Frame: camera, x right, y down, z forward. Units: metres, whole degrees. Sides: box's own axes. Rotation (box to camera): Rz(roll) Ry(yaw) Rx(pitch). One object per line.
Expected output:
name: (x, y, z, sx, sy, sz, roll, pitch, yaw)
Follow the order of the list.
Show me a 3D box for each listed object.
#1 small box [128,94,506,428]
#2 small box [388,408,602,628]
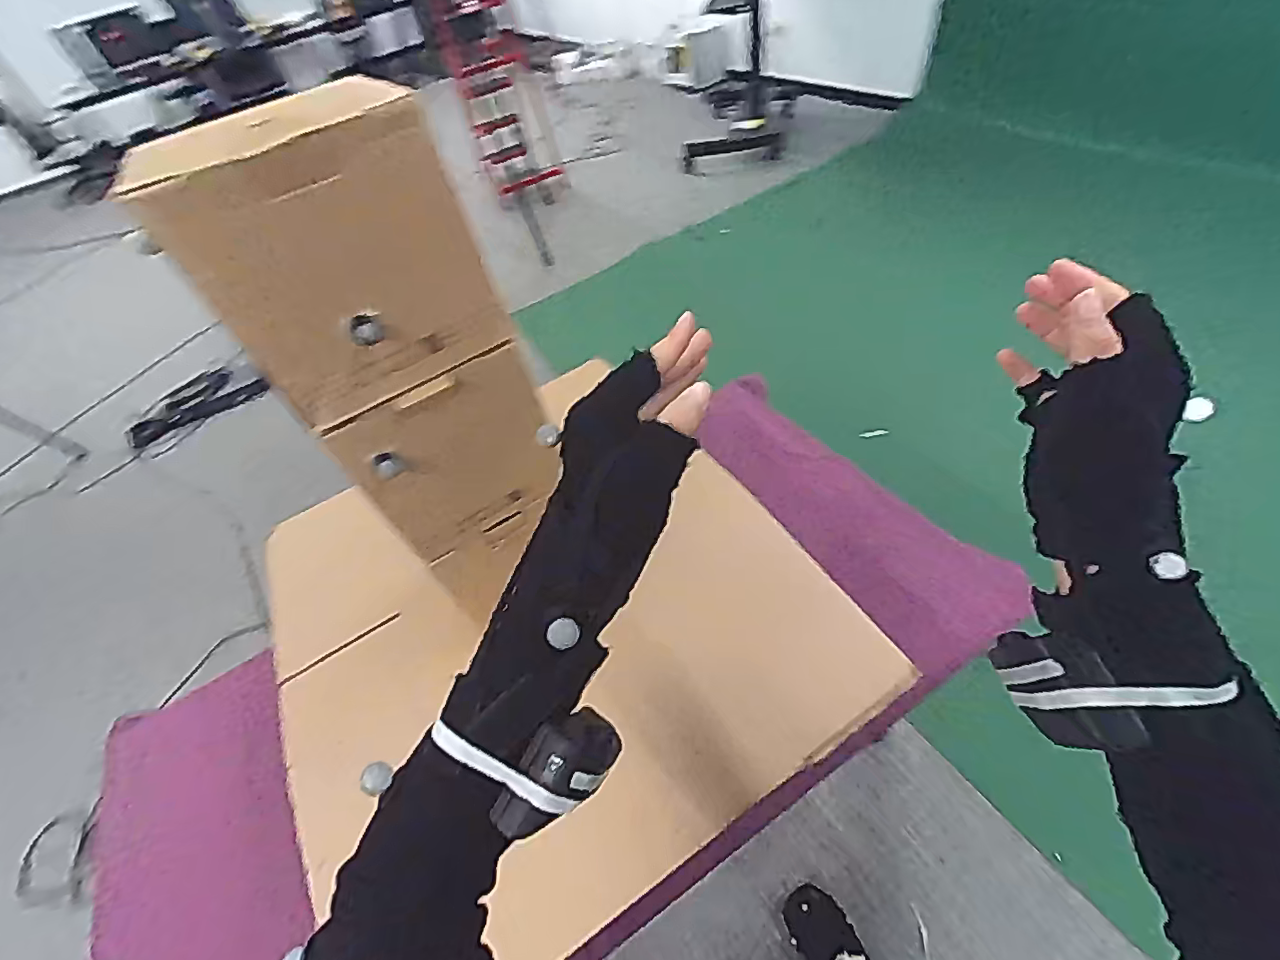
small box: (-0.231, -0.170, 0.416, 0.168, 0.176, 0.179, -32, 48, -16)
small box: (-0.166, 0.052, 0.649, 0.168, 0.176, 0.179, -31, 48, -14)
